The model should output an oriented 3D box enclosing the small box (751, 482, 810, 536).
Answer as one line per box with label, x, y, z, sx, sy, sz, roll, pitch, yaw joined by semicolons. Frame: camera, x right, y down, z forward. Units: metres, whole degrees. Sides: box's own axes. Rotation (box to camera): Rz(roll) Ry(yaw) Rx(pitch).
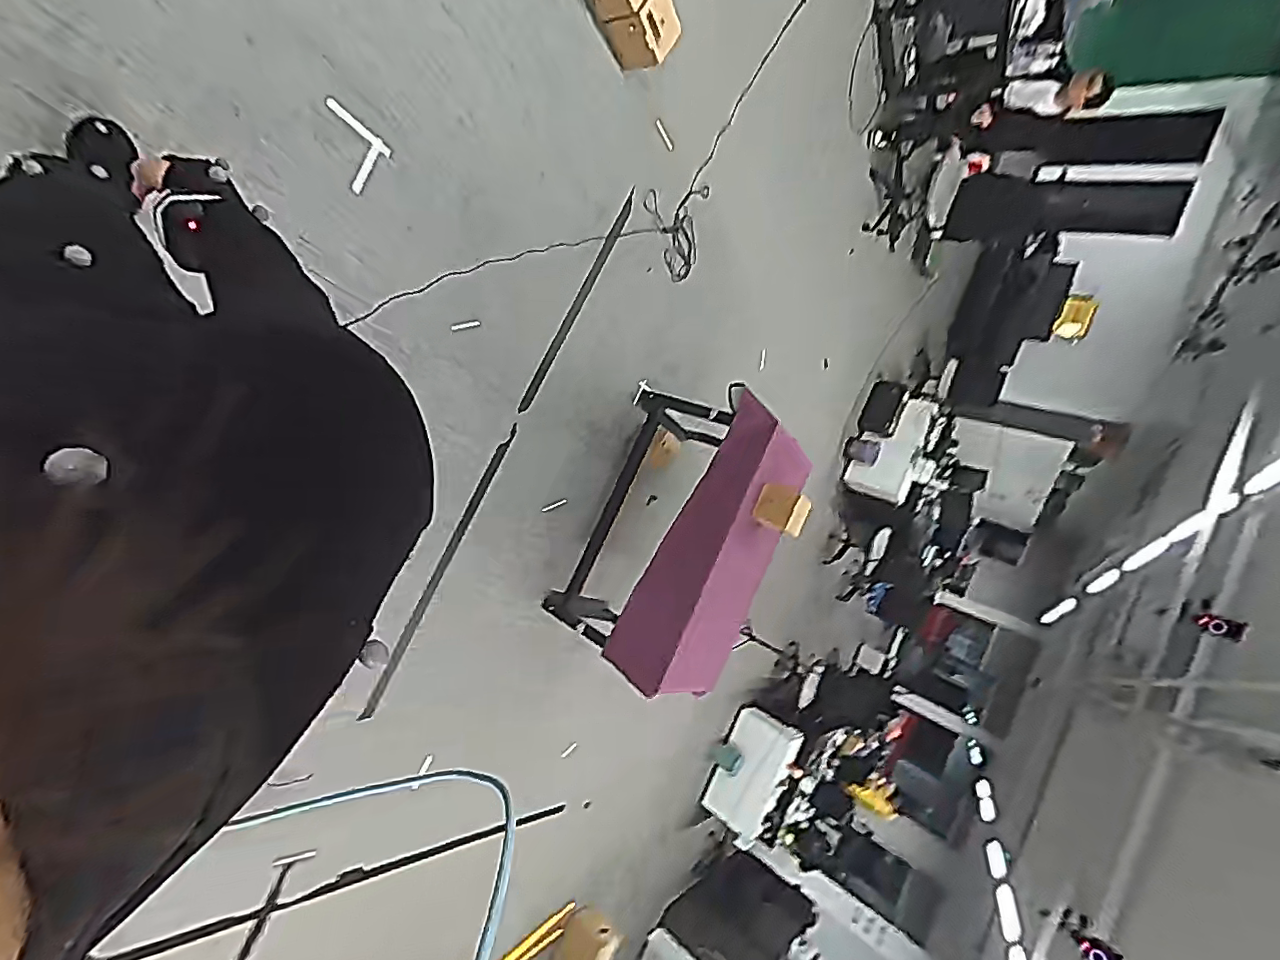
small box;0.610;0.123;2.352;0.179;0.176;0.168;31;82;-55
